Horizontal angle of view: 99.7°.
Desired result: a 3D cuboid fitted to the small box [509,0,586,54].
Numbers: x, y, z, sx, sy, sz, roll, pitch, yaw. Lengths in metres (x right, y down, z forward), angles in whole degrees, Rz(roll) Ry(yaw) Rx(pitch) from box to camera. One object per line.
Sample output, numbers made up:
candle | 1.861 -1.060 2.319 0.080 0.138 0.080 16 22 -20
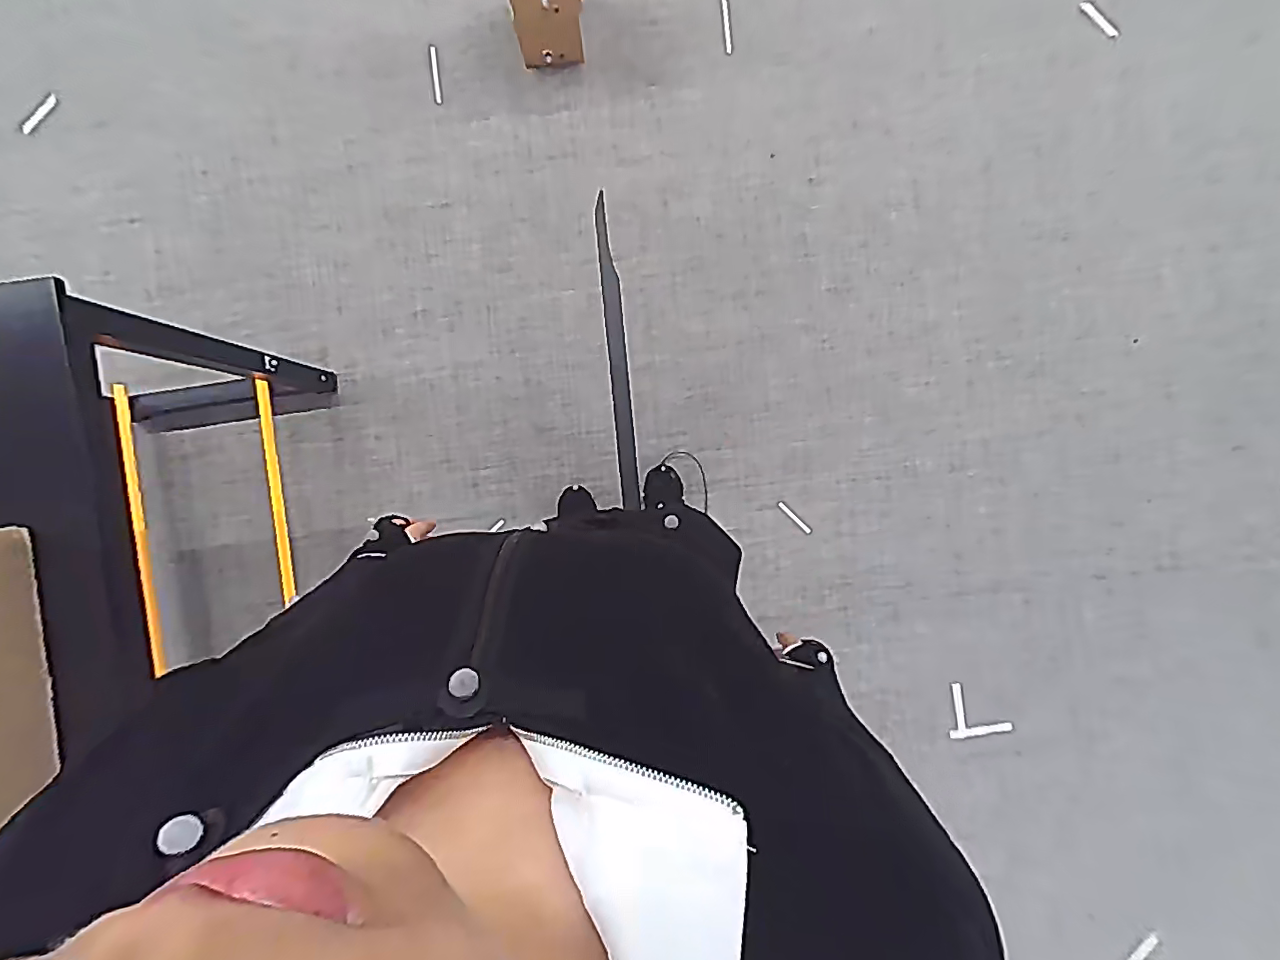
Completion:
small box | -0.227 -1.180 1.298 0.168 0.176 0.179 -7 93 1
